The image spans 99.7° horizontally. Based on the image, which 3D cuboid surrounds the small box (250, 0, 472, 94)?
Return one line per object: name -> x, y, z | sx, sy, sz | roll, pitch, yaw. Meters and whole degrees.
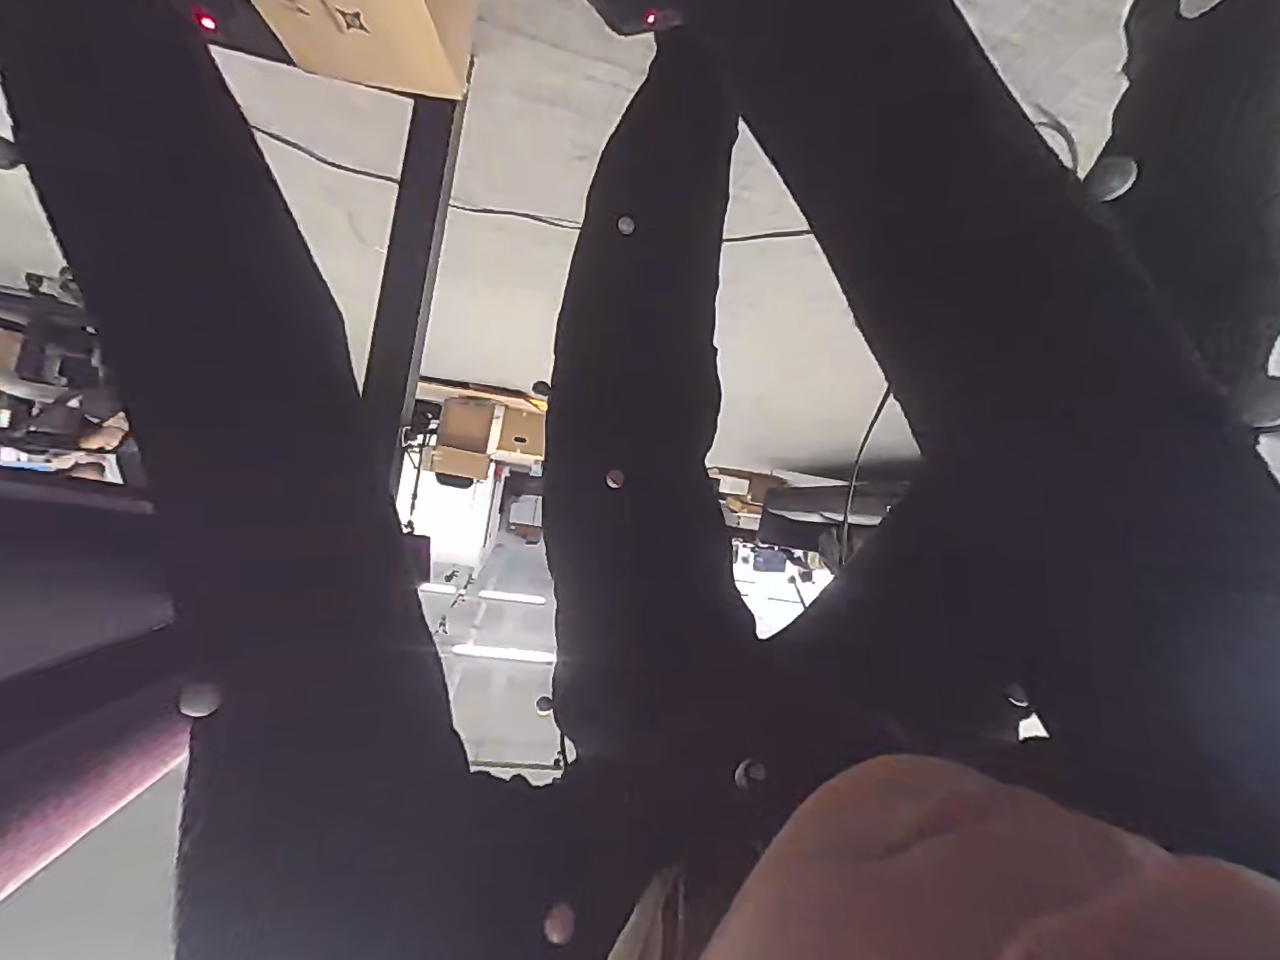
small box -> -0.254, -0.499, 0.484 | 0.179, 0.176, 0.168 | 9, 177, -3
